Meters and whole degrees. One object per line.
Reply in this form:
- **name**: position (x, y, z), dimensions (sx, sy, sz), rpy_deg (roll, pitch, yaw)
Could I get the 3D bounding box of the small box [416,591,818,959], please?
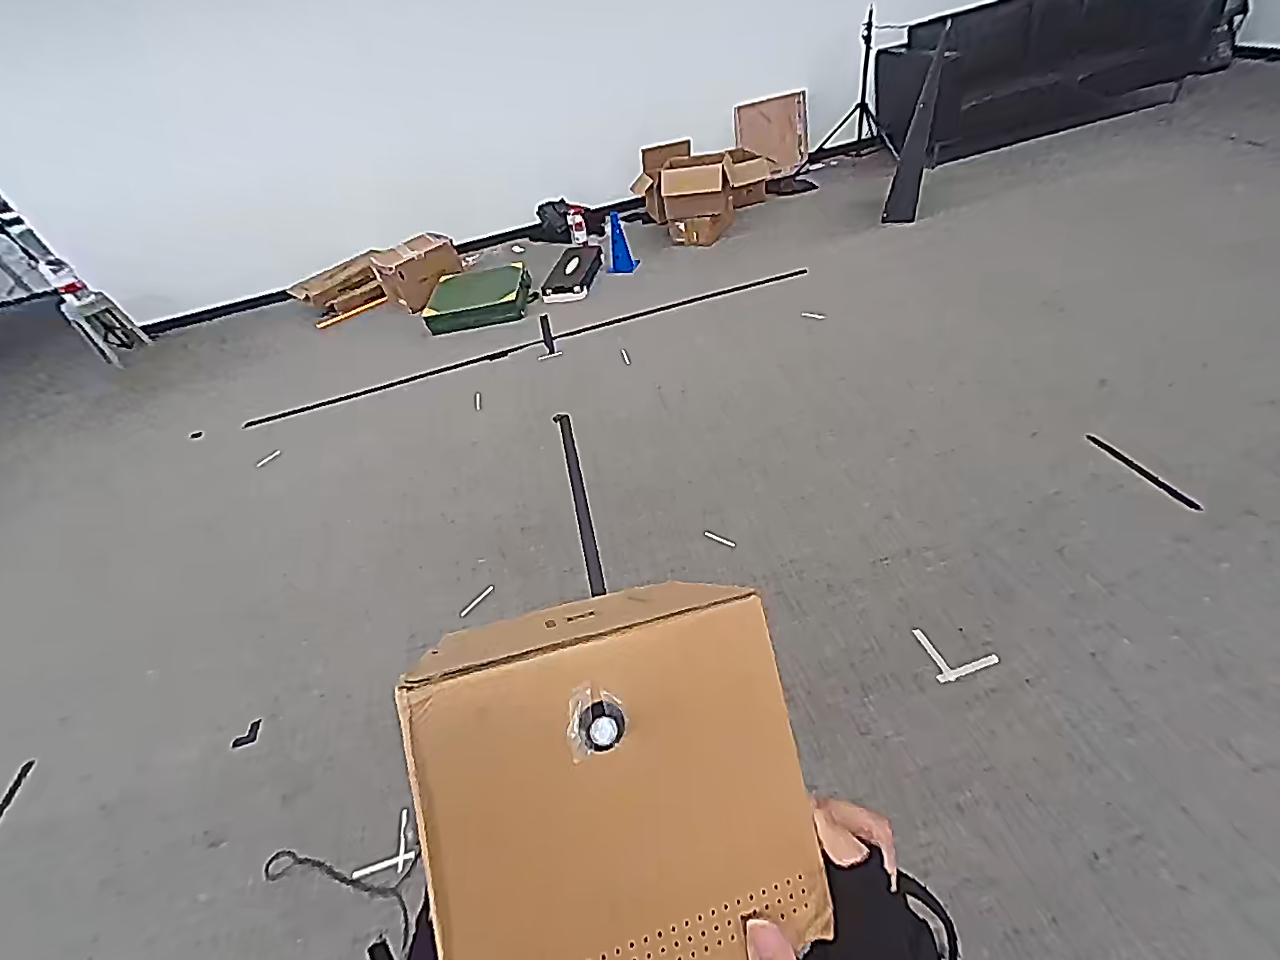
- **small box**: position (-0.020, 0.173, 0.335), dimensions (0.179, 0.168, 0.176), rpy_deg (-10, 84, -14)
